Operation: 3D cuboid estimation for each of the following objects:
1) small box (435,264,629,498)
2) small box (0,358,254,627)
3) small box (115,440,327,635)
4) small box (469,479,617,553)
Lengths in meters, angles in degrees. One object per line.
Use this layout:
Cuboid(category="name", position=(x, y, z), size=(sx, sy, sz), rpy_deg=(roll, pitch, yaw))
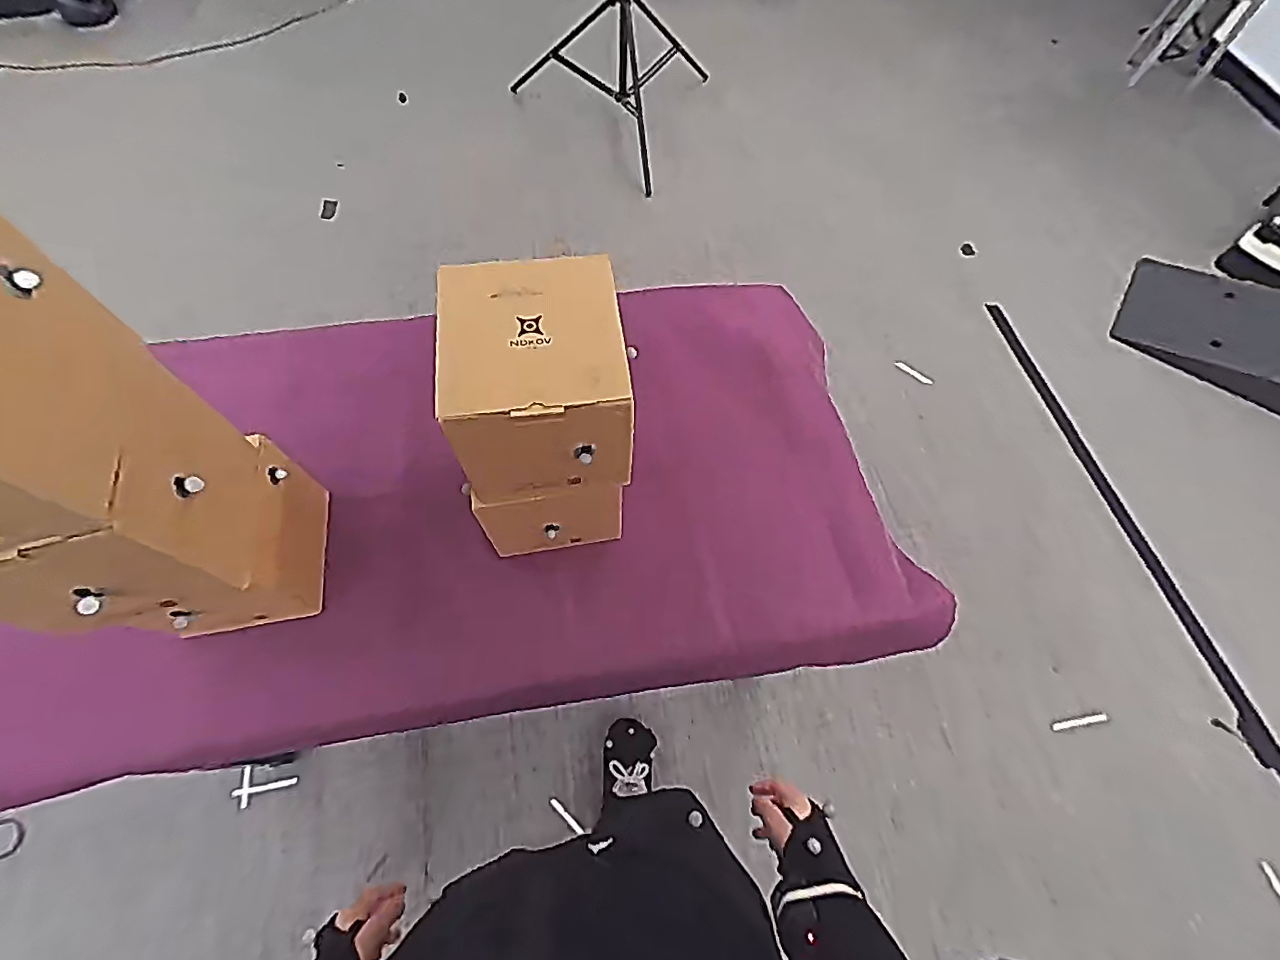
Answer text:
Cuboid(category="small box", position=(-0.103, -0.091, 0.558), size=(0.168, 0.176, 0.179), rpy_deg=(-7, 63, -7))
Cuboid(category="small box", position=(-0.481, 0.023, 0.485), size=(0.168, 0.176, 0.179), rpy_deg=(-13, 65, -9))
Cuboid(category="small box", position=(-0.496, 0.078, 0.641), size=(0.168, 0.176, 0.179), rpy_deg=(-9, 64, -7))
Cuboid(category="small box", position=(-0.121, -0.014, 0.700), size=(0.168, 0.176, 0.179), rpy_deg=(-8, 64, -7))
